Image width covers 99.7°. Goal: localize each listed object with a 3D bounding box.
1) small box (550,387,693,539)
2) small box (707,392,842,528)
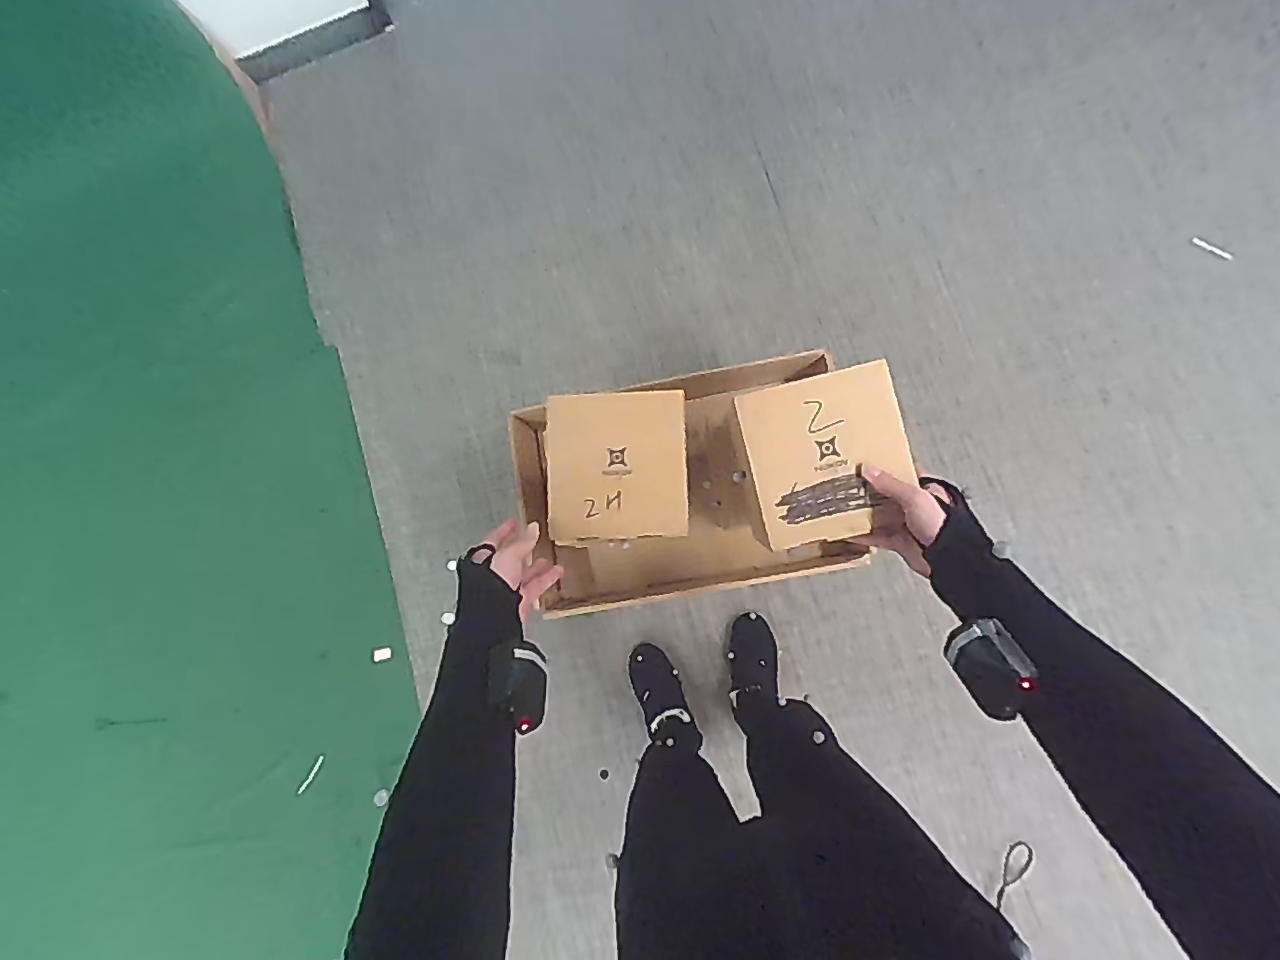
[{"bbox_3d":[-0.018,-0.014,0.705,0.168,0.176,0.179,0,84,3],"label":"small box"},{"bbox_3d":[0.199,-0.020,0.845,0.168,0.176,0.179,-10,82,5],"label":"small box"}]
